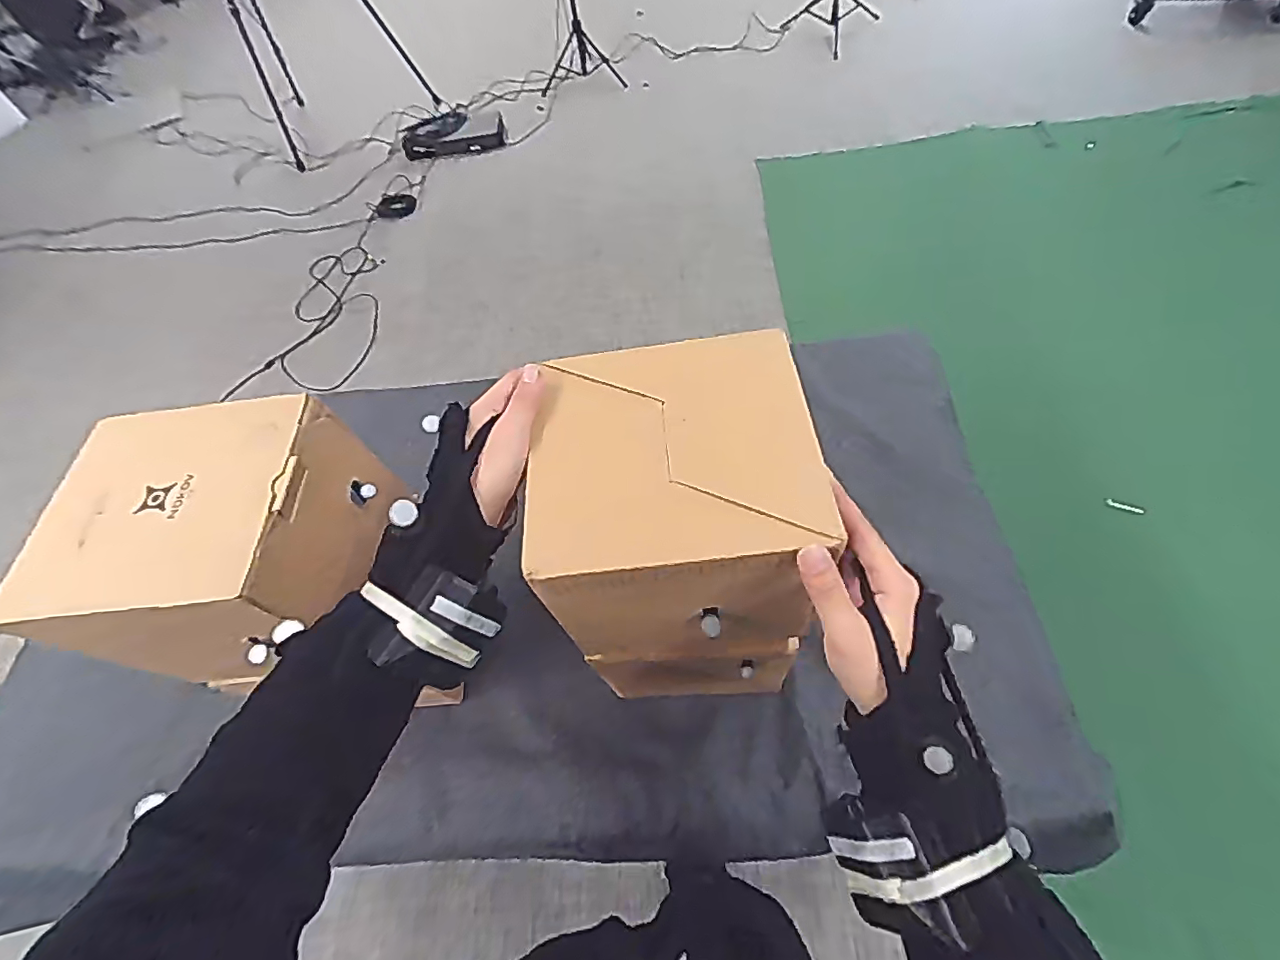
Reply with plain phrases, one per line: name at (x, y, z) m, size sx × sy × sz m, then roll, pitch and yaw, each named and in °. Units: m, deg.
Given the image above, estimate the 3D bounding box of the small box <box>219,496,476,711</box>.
small box at (-0.289, 0.139, 0.583) m, size 0.168 × 0.176 × 0.179 m, roll -6°, pitch 59°, yaw 4°

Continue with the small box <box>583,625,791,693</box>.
small box at (0.047, 0.116, 0.554) m, size 0.179 × 0.176 × 0.168 m, roll -4°, pitch 58°, yaw 5°

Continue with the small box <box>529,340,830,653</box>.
small box at (0.027, 0.018, 0.404) m, size 0.179 × 0.176 × 0.168 m, roll -7°, pitch 57°, yaw 3°

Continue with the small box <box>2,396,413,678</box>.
small box at (-0.314, 0.056, 0.445) m, size 0.179 × 0.176 × 0.168 m, roll -7°, pitch 57°, yaw 4°
